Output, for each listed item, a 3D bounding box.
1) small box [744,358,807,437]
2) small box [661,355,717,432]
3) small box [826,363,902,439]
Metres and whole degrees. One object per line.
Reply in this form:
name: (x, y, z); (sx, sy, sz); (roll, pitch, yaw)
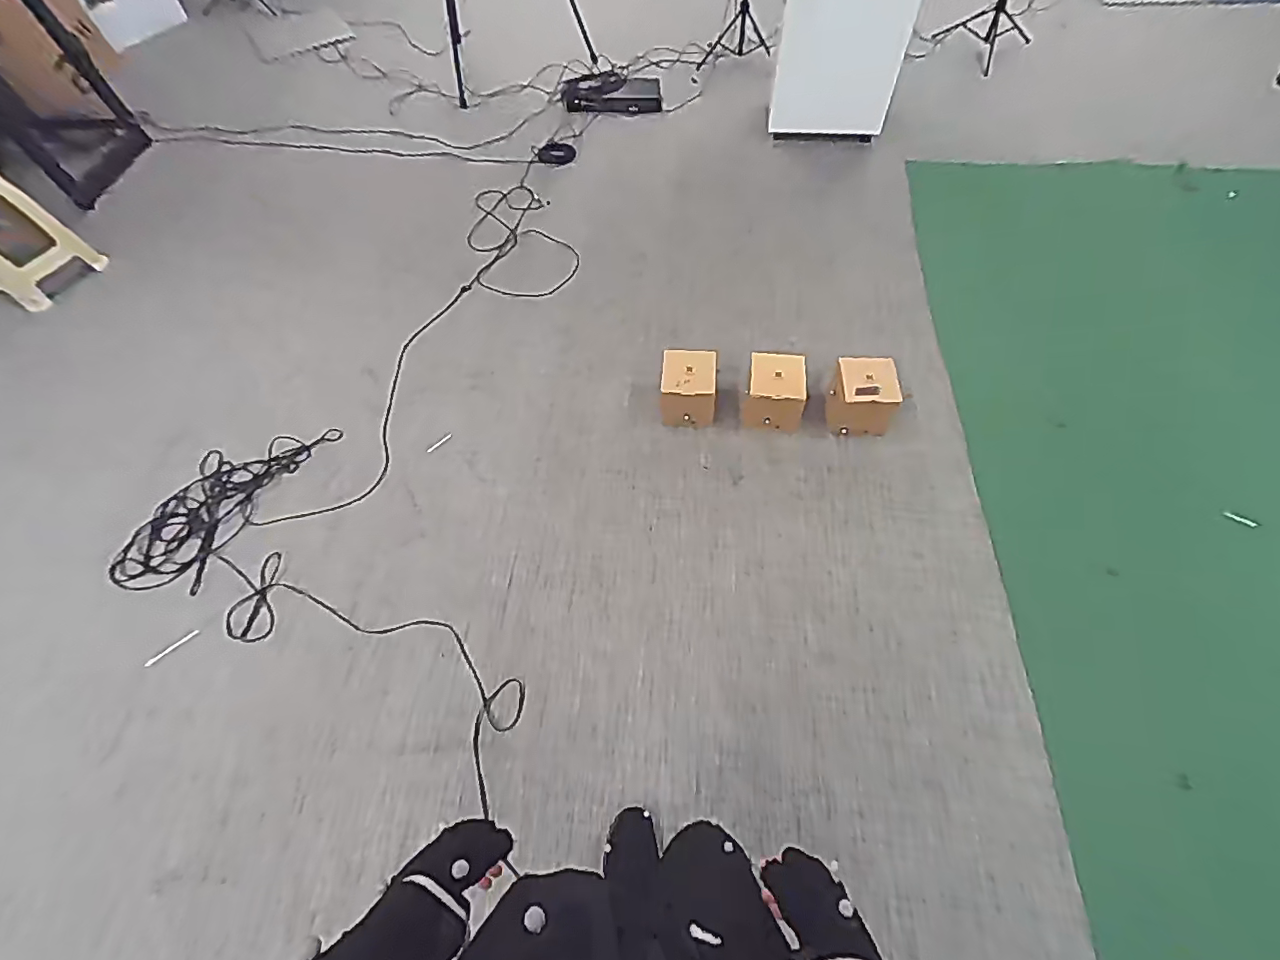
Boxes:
small box: (0.423, -0.260, 1.707); (0.168, 0.176, 0.179); (5, 60, 5)
small box: (0.156, -0.277, 1.727); (0.168, 0.176, 0.179); (3, 60, 6)
small box: (0.690, -0.244, 1.685); (0.168, 0.176, 0.179); (2, 59, 4)
